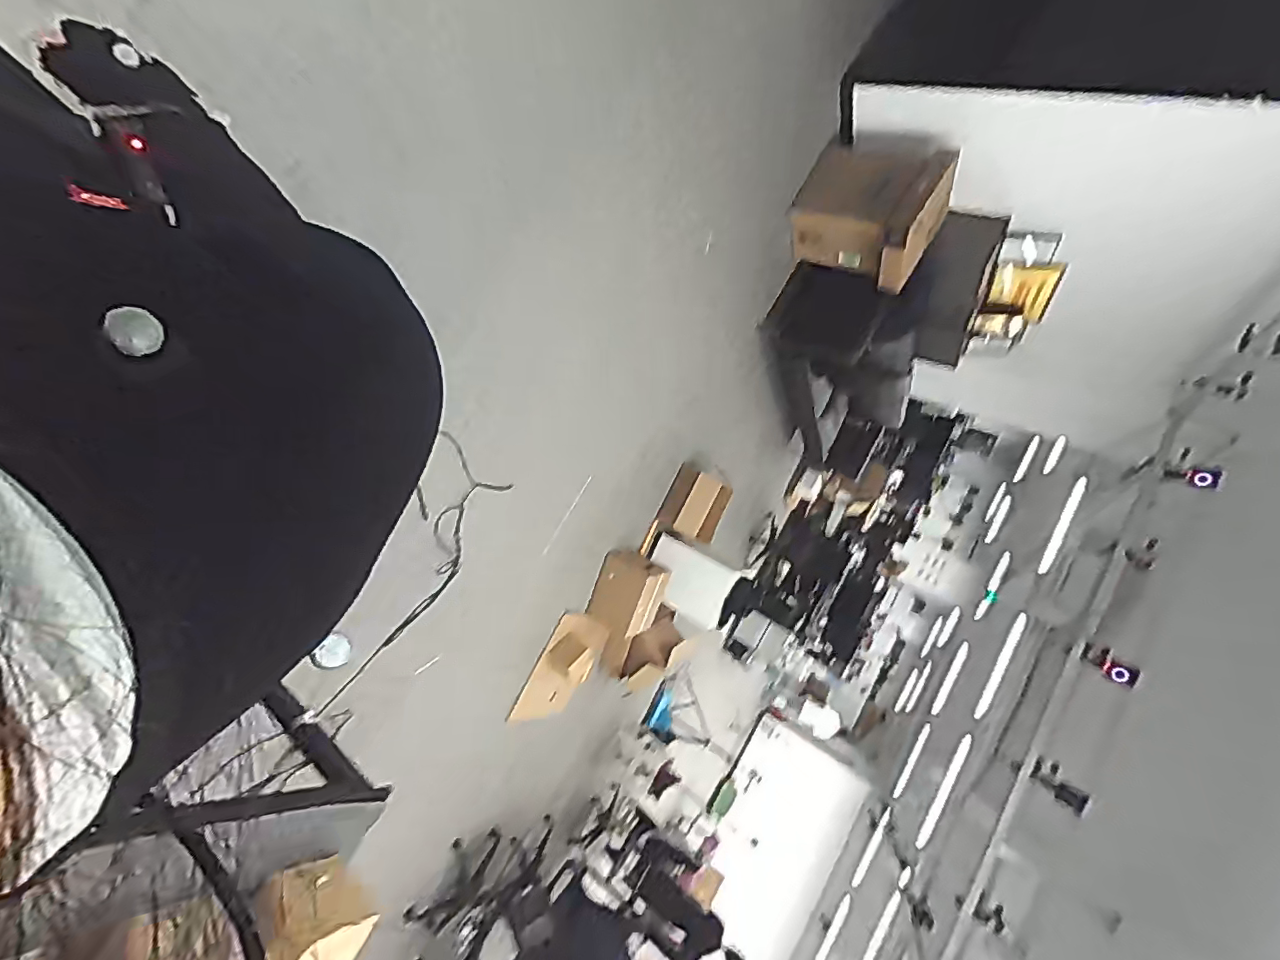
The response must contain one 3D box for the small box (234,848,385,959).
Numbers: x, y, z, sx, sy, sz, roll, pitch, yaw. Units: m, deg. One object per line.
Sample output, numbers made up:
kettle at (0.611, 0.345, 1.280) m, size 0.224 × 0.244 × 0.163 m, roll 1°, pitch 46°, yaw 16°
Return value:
small box at (-0.659, 0.884, 1.073) m, size 0.179 × 0.176 × 0.168 m, roll -59°, pitch 151°, yaw -7°
